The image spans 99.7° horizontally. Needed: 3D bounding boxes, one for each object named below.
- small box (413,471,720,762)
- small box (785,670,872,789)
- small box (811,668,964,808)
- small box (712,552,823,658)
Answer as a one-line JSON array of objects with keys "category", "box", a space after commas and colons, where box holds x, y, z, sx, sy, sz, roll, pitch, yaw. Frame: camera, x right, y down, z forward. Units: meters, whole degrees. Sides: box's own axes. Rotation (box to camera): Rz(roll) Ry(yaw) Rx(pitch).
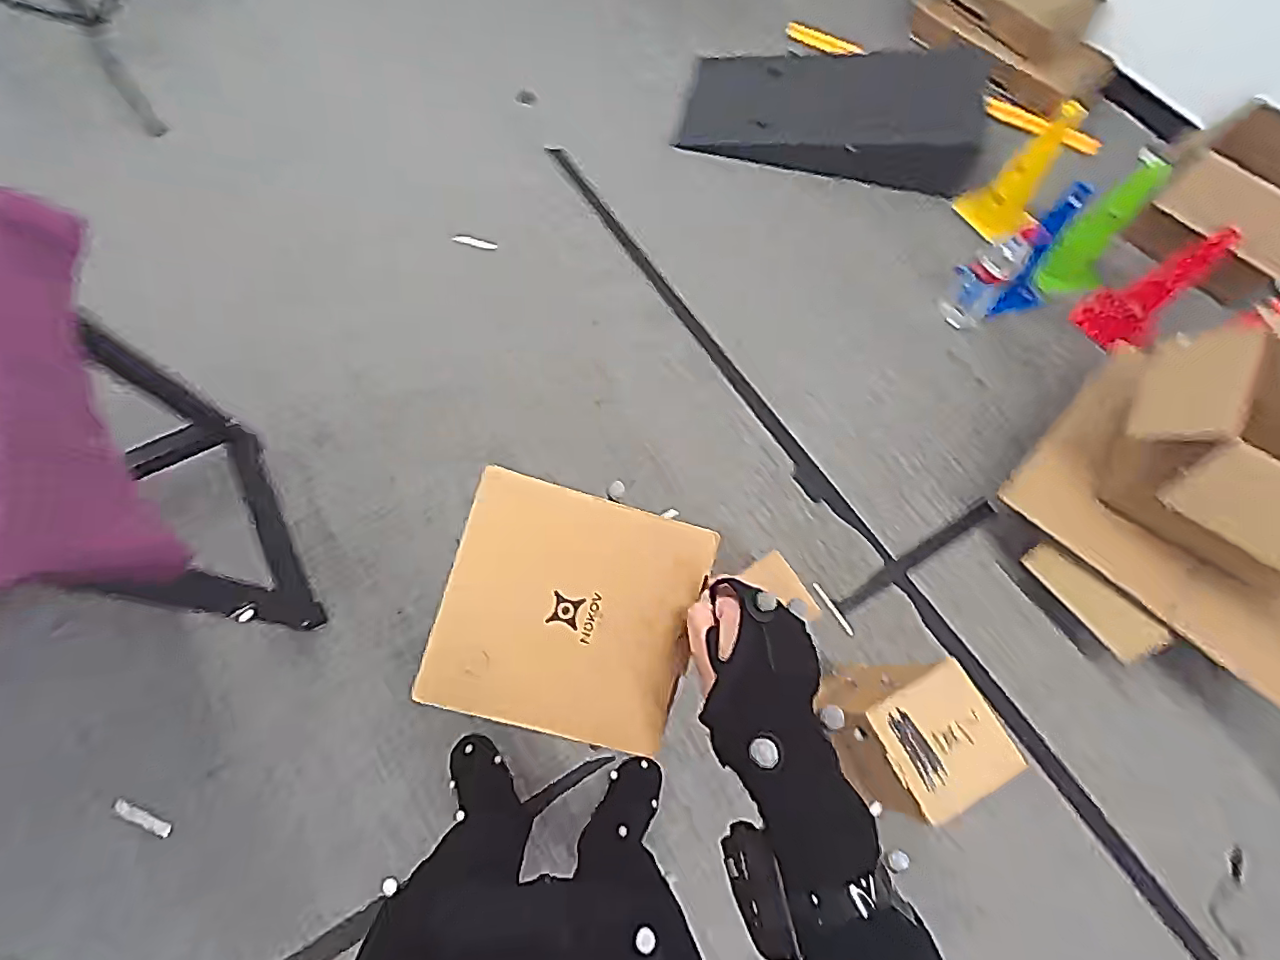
[{"category": "small box", "box": [-0.057, 0.099, 0.447, 0.179, 0.176, 0.168, 16, 85, -8]}, {"category": "small box", "box": [0.442, 0.524, 1.163, 0.168, 0.176, 0.179, -24, 73, -10]}, {"category": "small box", "box": [0.441, 0.471, 1.007, 0.179, 0.176, 0.168, -25, 72, -11]}, {"category": "small box", "box": [0.281, 0.295, 1.247, 0.179, 0.176, 0.168, -30, 74, -13]}]
